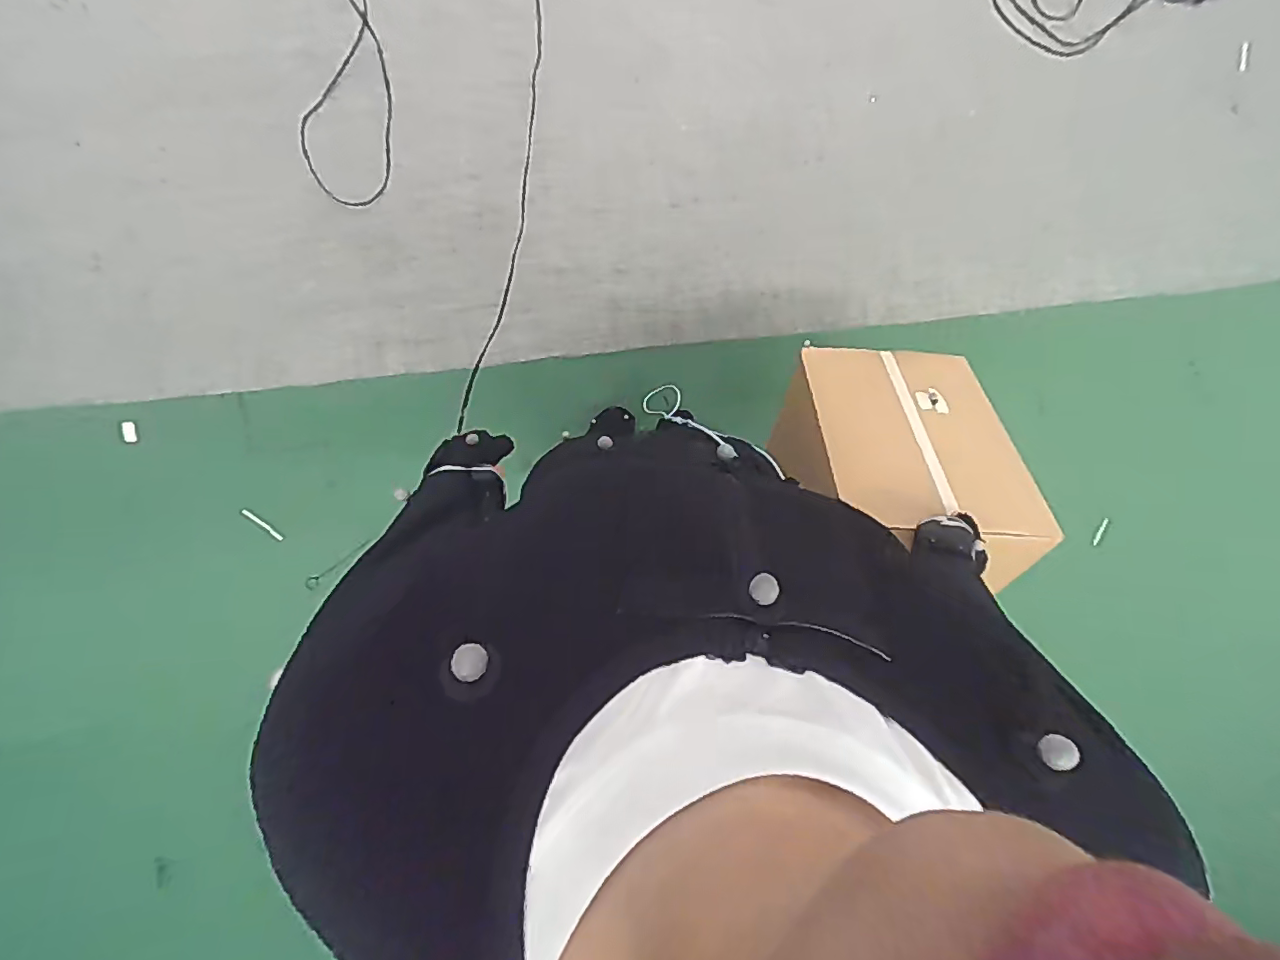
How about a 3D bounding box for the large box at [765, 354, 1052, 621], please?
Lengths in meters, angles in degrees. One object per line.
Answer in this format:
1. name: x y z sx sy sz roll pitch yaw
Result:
1. large box: 0.439 0.016 1.011 0.320 0.408 0.320 3 140 -2
